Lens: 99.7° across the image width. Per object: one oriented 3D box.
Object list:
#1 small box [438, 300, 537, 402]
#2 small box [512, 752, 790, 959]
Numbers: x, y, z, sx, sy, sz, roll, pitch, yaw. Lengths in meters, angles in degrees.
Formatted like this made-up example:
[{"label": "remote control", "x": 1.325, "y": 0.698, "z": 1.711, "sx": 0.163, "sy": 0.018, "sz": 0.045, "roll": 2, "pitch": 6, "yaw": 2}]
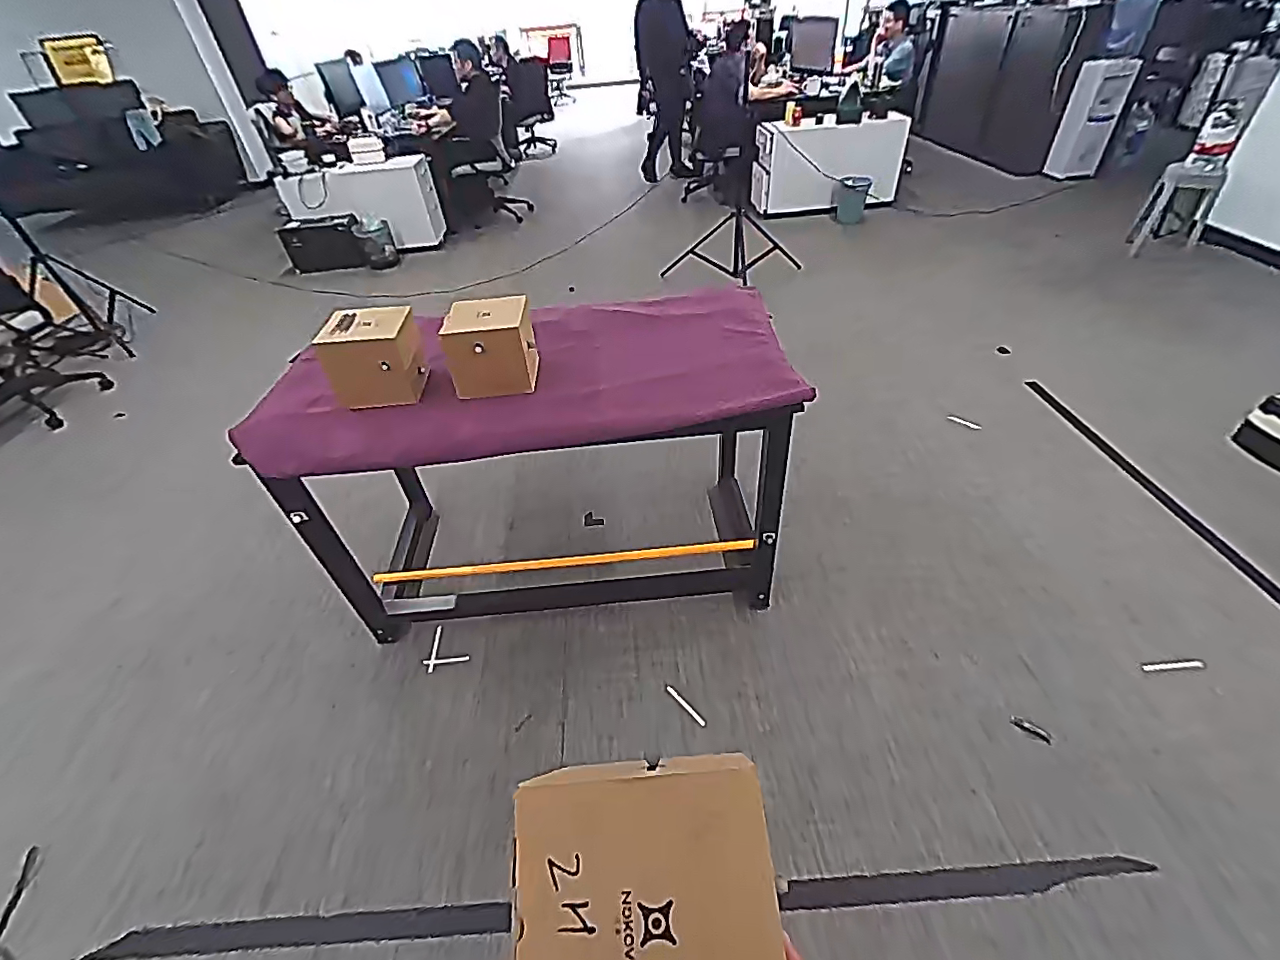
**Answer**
[{"label": "small box", "x": -0.342, "y": -0.297, "z": 1.254, "sx": 0.179, "sy": 0.176, "sz": 0.168, "roll": -6, "pitch": 41, "yaw": -1}, {"label": "small box", "x": 0.011, "y": 0.311, "z": 0.419, "sx": 0.179, "sy": 0.176, "sz": 0.168, "roll": -7, "pitch": 65, "yaw": 4}]
